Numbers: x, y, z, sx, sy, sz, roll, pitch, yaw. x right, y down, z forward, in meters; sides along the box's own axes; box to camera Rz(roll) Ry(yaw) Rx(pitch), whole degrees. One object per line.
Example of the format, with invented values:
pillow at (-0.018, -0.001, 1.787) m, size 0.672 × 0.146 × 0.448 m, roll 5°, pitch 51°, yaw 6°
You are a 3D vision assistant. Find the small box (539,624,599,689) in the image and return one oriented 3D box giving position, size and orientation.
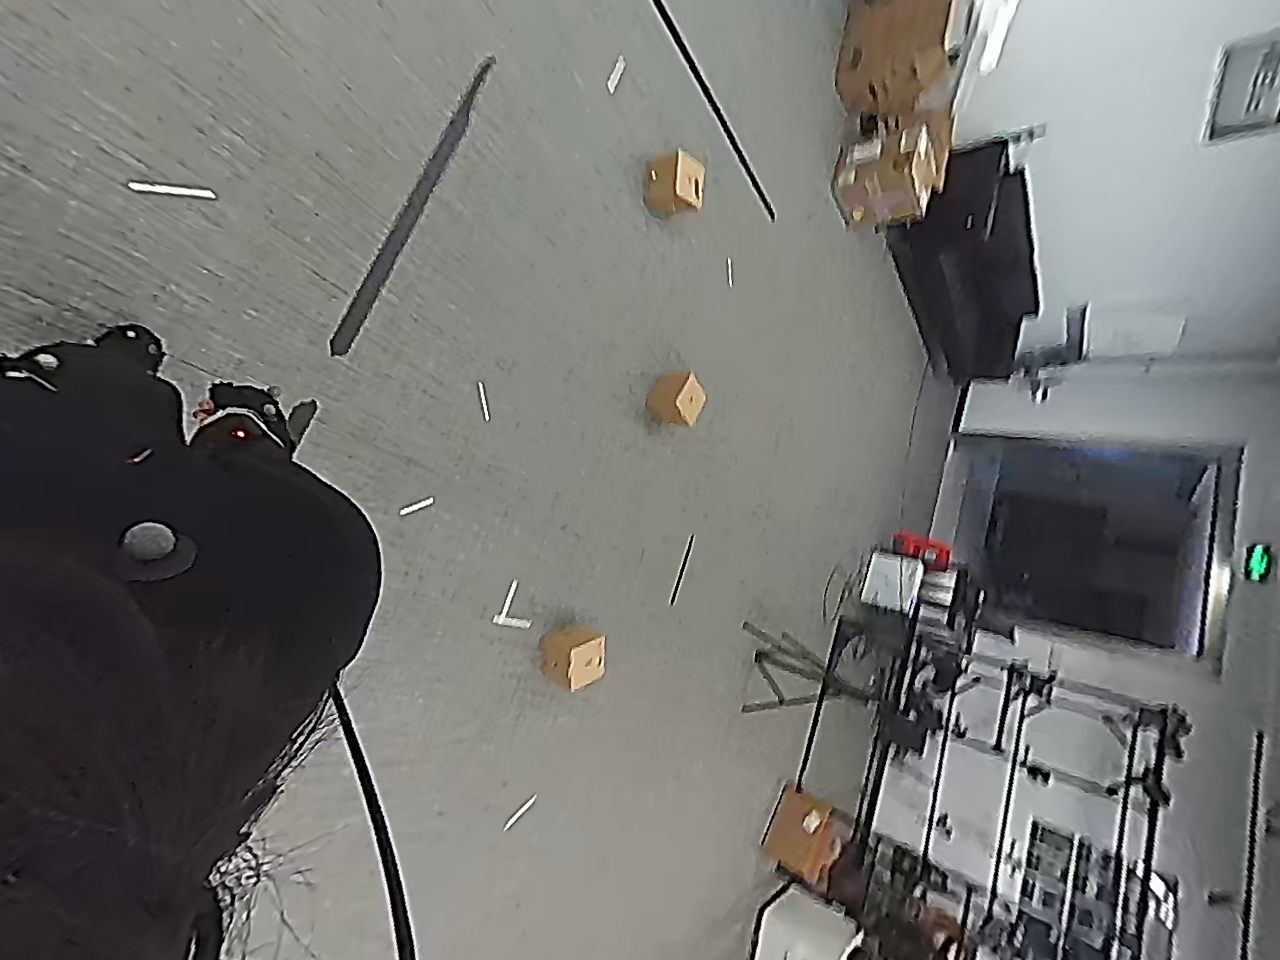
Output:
small box at (-0.278, 0.676, 2.090) m, size 0.179 × 0.176 × 0.168 m, roll -9°, pitch 103°, yaw -48°

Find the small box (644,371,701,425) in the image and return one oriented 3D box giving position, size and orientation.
small box at (0.140, -0.365, 2.395) m, size 0.168 × 0.176 × 0.179 m, roll 51°, pitch 59°, yaw -44°

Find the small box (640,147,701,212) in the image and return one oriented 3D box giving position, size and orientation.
small box at (0.125, -1.218, 2.208) m, size 0.179 × 0.176 × 0.168 m, roll -1°, pitch 97°, yaw -49°
